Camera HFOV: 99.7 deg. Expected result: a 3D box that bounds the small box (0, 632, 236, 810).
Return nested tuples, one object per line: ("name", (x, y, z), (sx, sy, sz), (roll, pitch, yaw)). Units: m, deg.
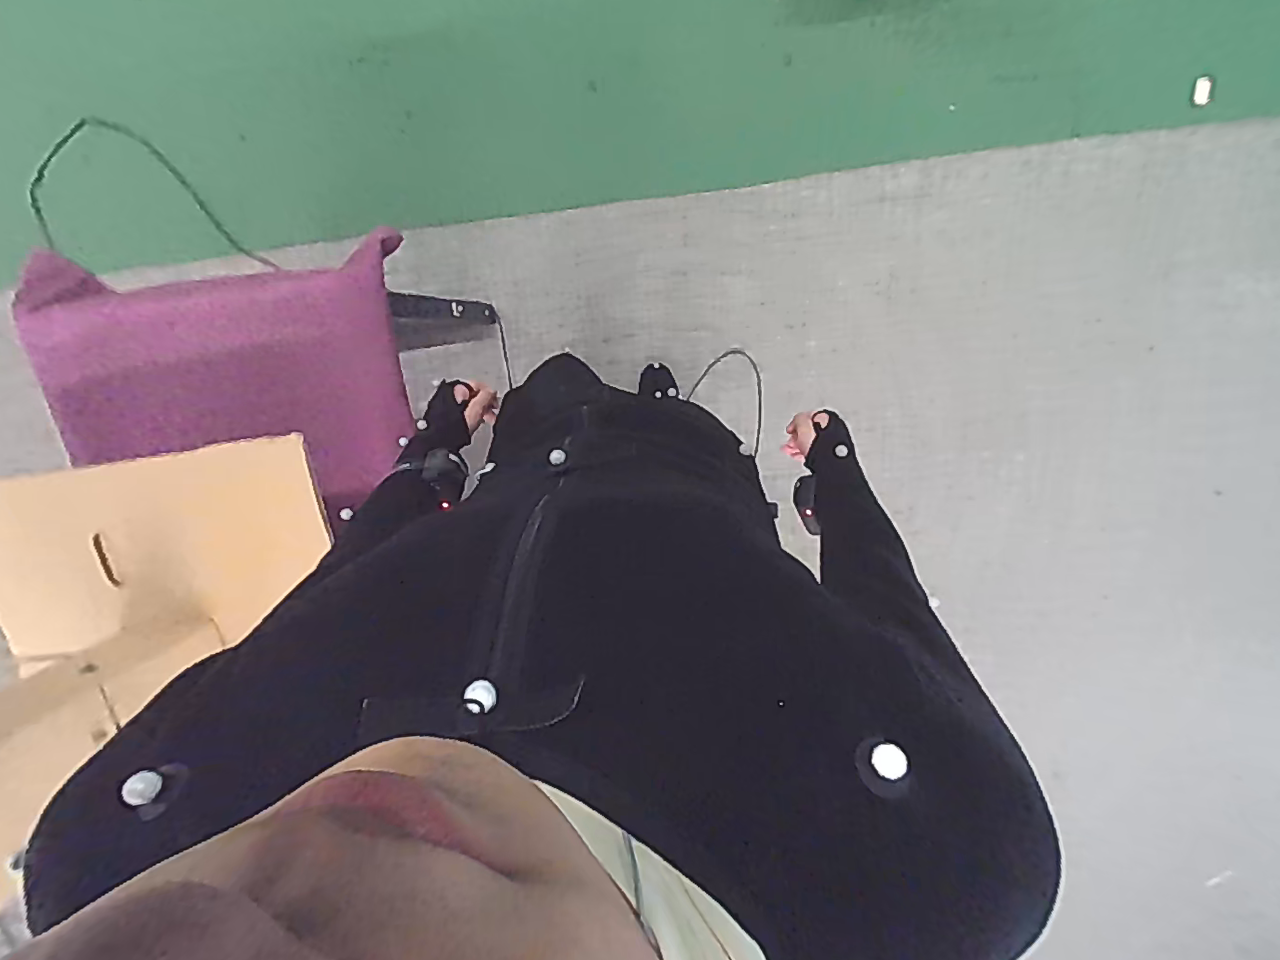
("small box", (-0.728, 0.333, 0.774), (0.179, 0.176, 0.168), (-8, 101, 8))
